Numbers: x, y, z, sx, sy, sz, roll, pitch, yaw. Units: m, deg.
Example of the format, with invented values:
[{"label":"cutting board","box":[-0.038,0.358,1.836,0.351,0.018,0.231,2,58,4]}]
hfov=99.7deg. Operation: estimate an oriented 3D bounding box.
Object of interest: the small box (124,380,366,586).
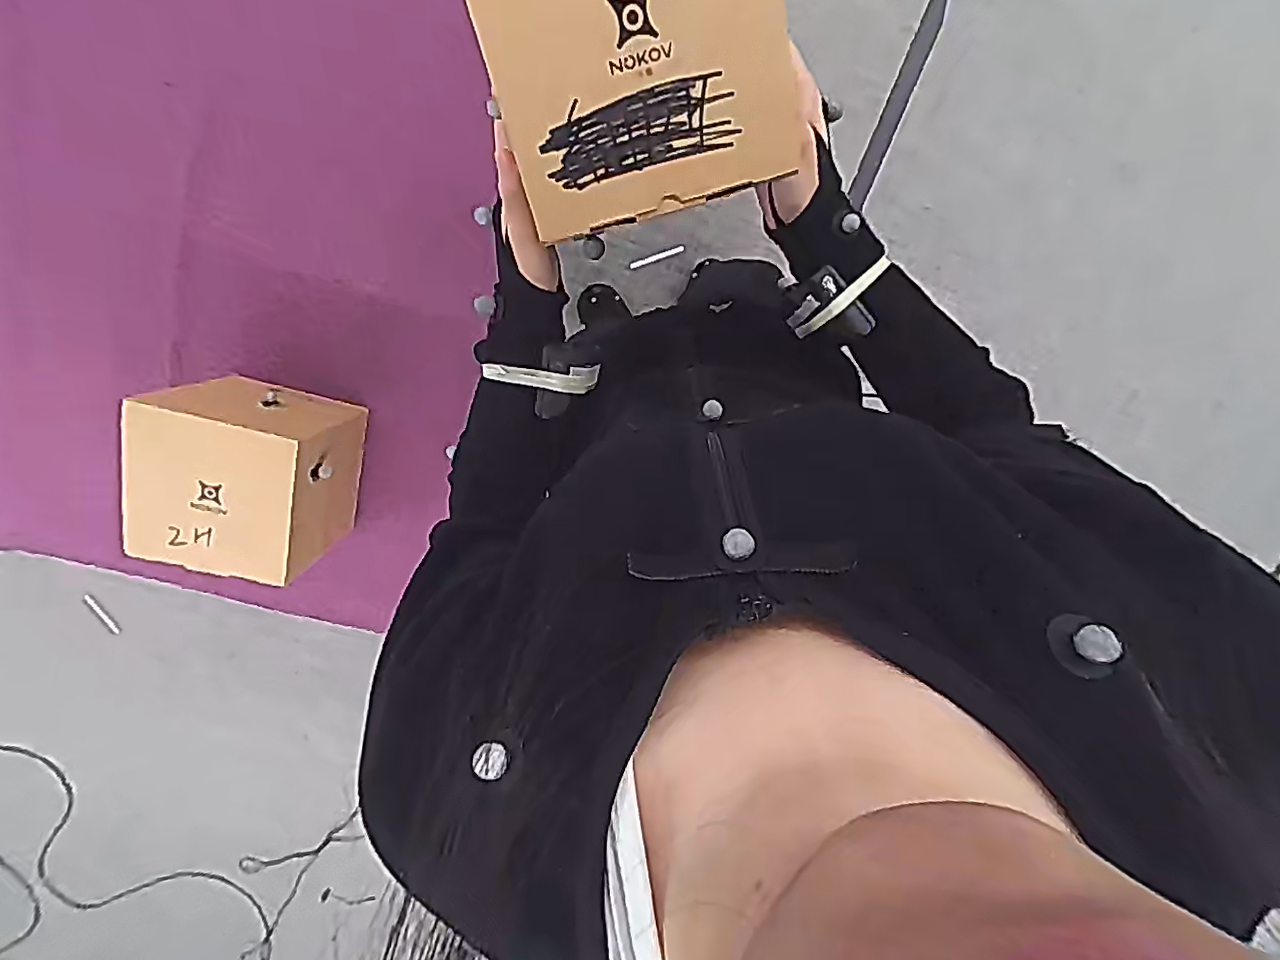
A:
[{"label":"small box","box":[-0.443,-0.008,0.631,0.168,0.176,0.179,14,107,-7]}]
